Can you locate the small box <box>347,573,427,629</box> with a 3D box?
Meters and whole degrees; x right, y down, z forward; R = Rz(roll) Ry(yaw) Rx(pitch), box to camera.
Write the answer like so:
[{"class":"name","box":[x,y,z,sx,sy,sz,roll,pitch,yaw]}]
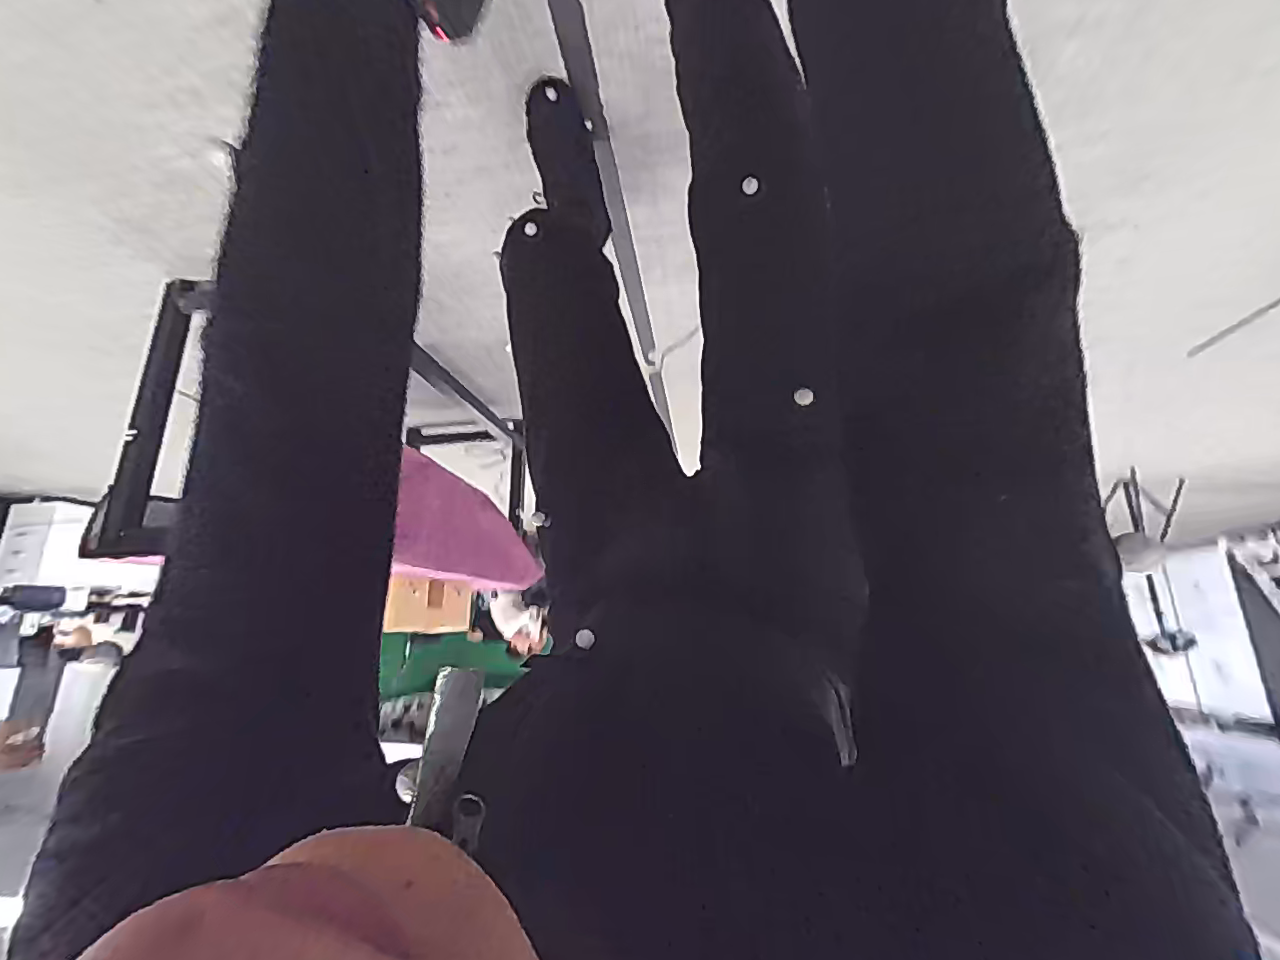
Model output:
[{"class":"small box","box":[-0.828,0.402,1.789,0.179,0.176,0.168,-4,165,11]}]
